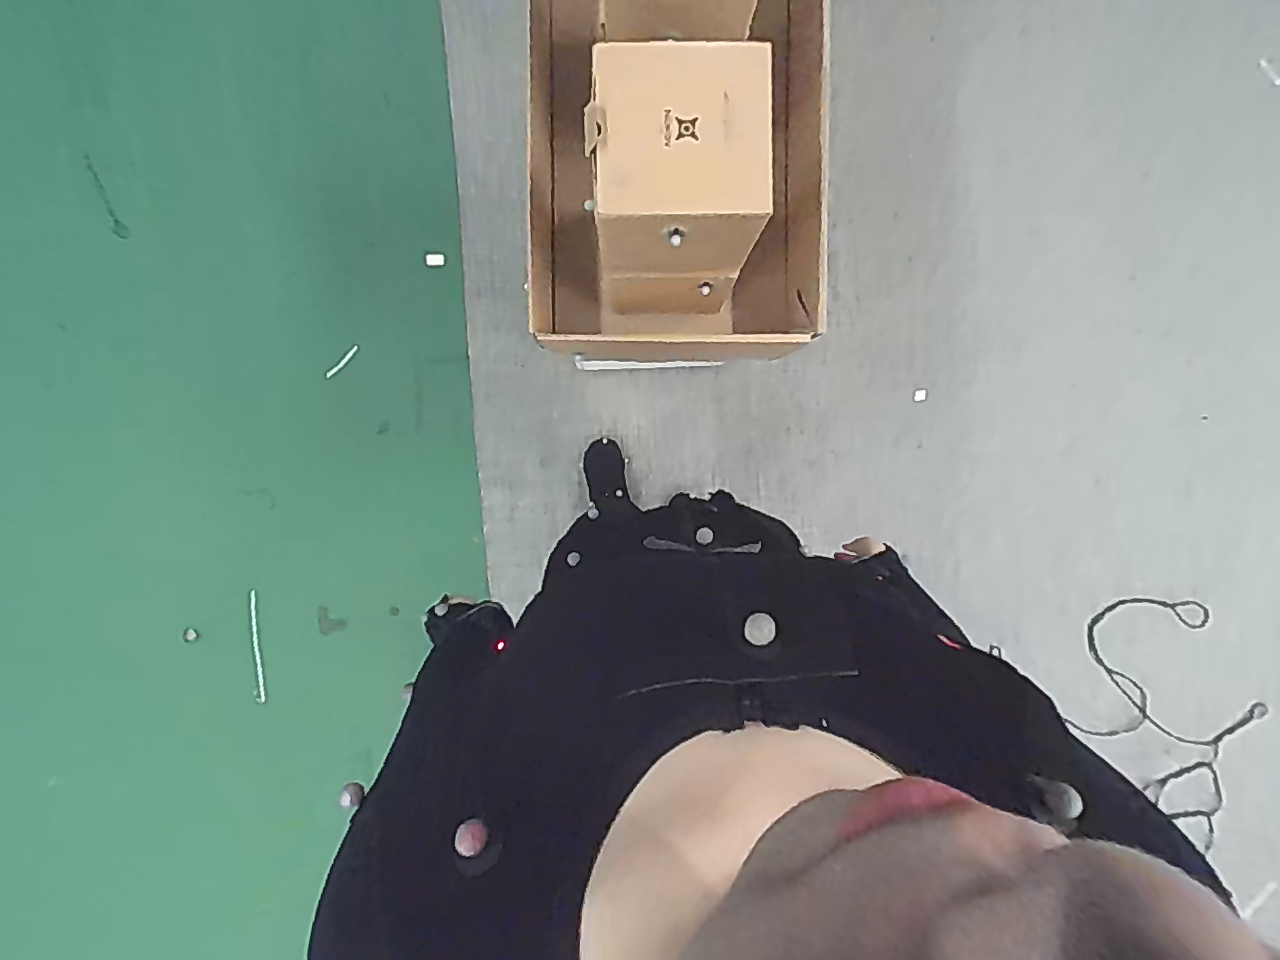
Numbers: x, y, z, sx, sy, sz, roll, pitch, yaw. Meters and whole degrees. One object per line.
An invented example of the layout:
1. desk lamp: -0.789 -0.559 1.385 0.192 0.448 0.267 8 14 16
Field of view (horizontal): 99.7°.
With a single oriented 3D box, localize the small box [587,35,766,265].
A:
1. small box: 0.035 -0.353 0.609 0.179 0.176 0.168 -1 93 -2
